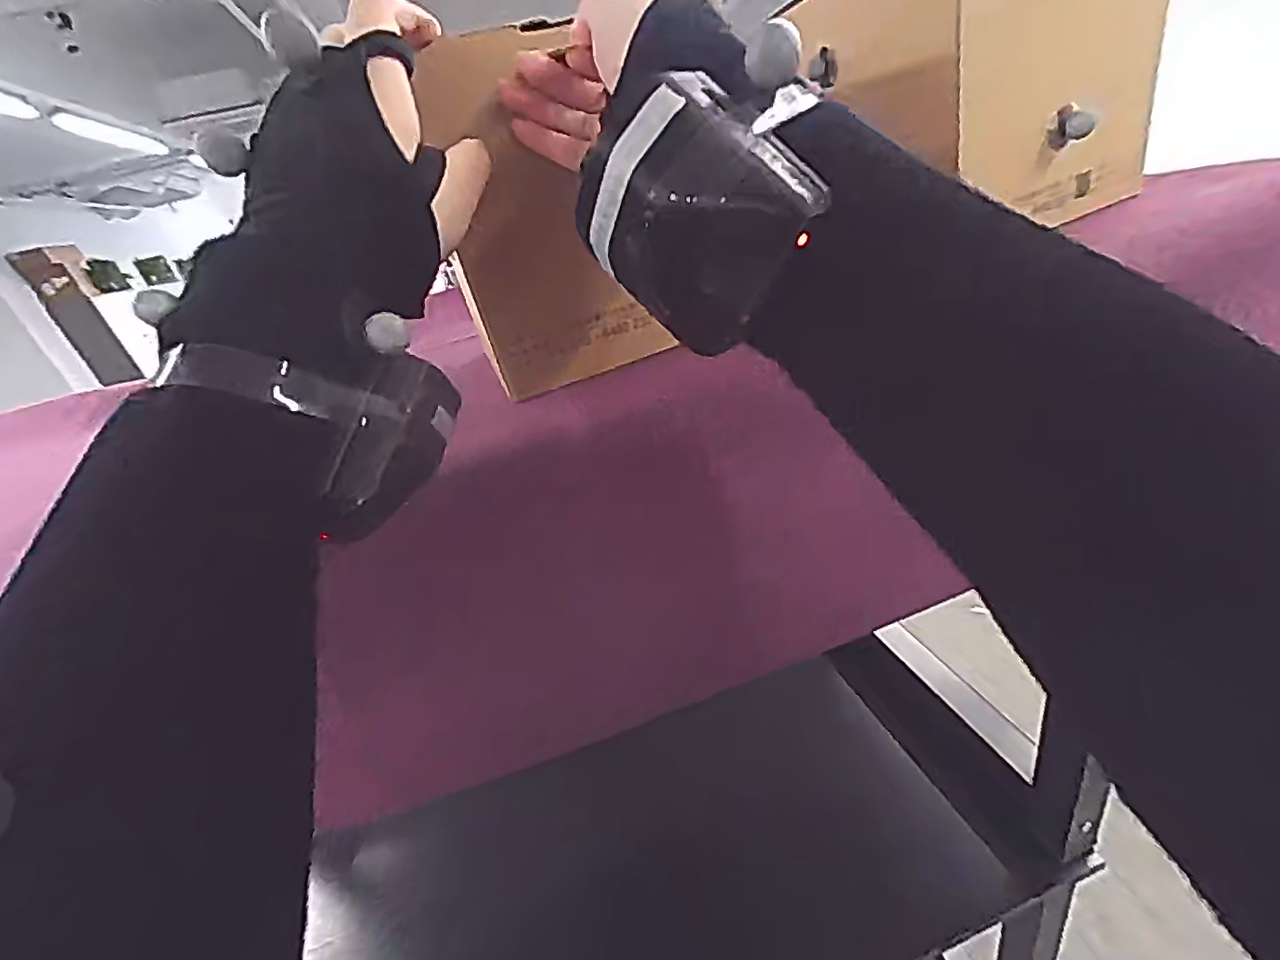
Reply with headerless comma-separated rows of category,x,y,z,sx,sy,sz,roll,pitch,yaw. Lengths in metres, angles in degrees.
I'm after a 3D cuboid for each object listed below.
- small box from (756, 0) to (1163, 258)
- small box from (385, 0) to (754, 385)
small box,0.206,-0.261,0.376,0.168,0.176,0.179,-24,28,-14
small box,-0.043,-0.174,0.353,0.168,0.176,0.179,-21,27,-12
